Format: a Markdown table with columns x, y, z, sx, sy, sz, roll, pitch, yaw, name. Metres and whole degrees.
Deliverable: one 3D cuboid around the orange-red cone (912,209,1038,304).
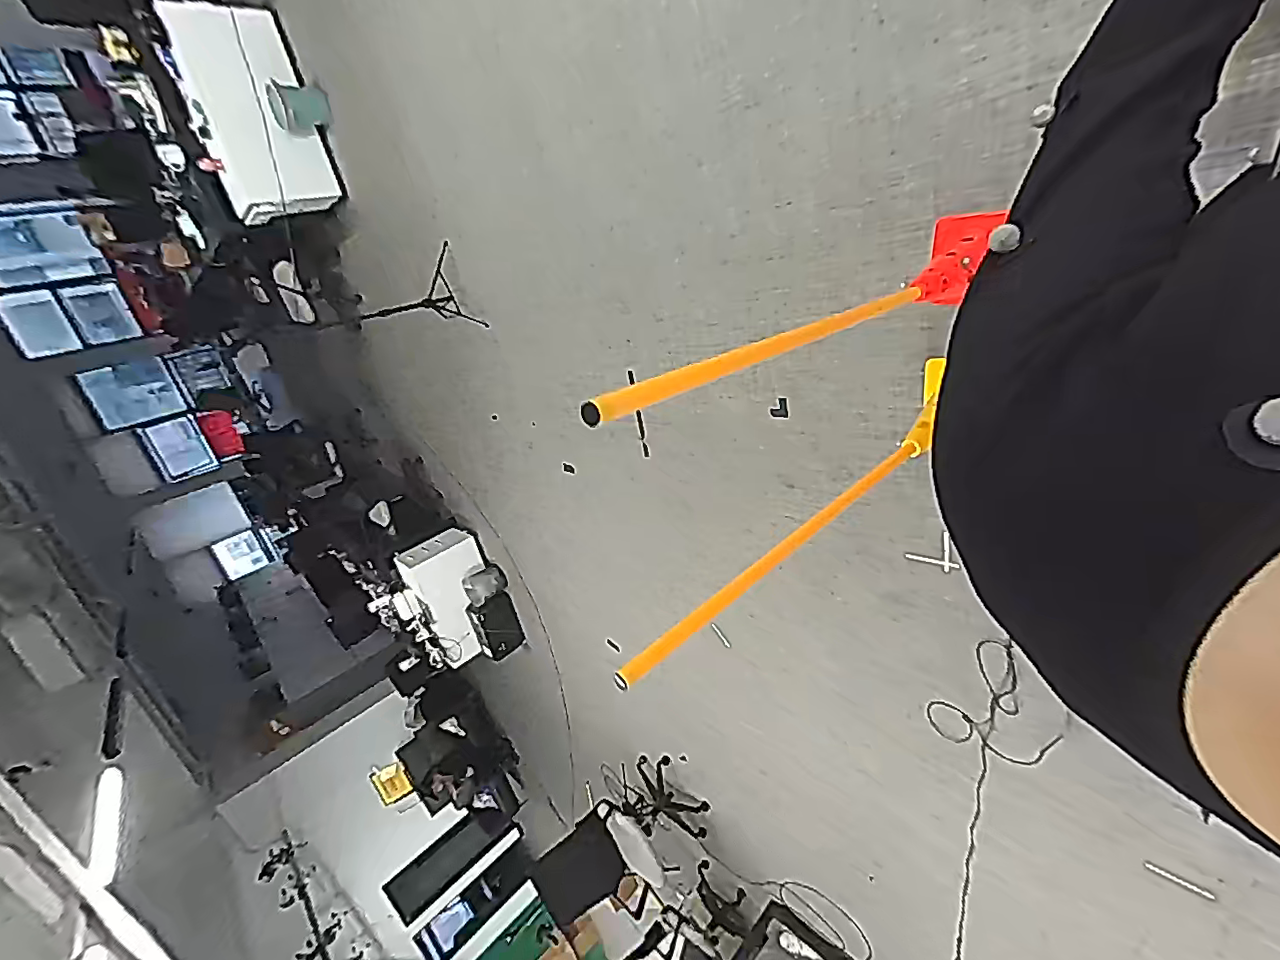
| x | y | z | sx | sy | sz | roll | pitch | yaw | name |
| --- | --- | --- | --- | --- | --- | --- | --- | --- | --- |
| 0.660 | -0.441 | 1.137 | 0.198 | 0.360 | 0.199 | 20 | 127 | 42 | orange-red cone |
